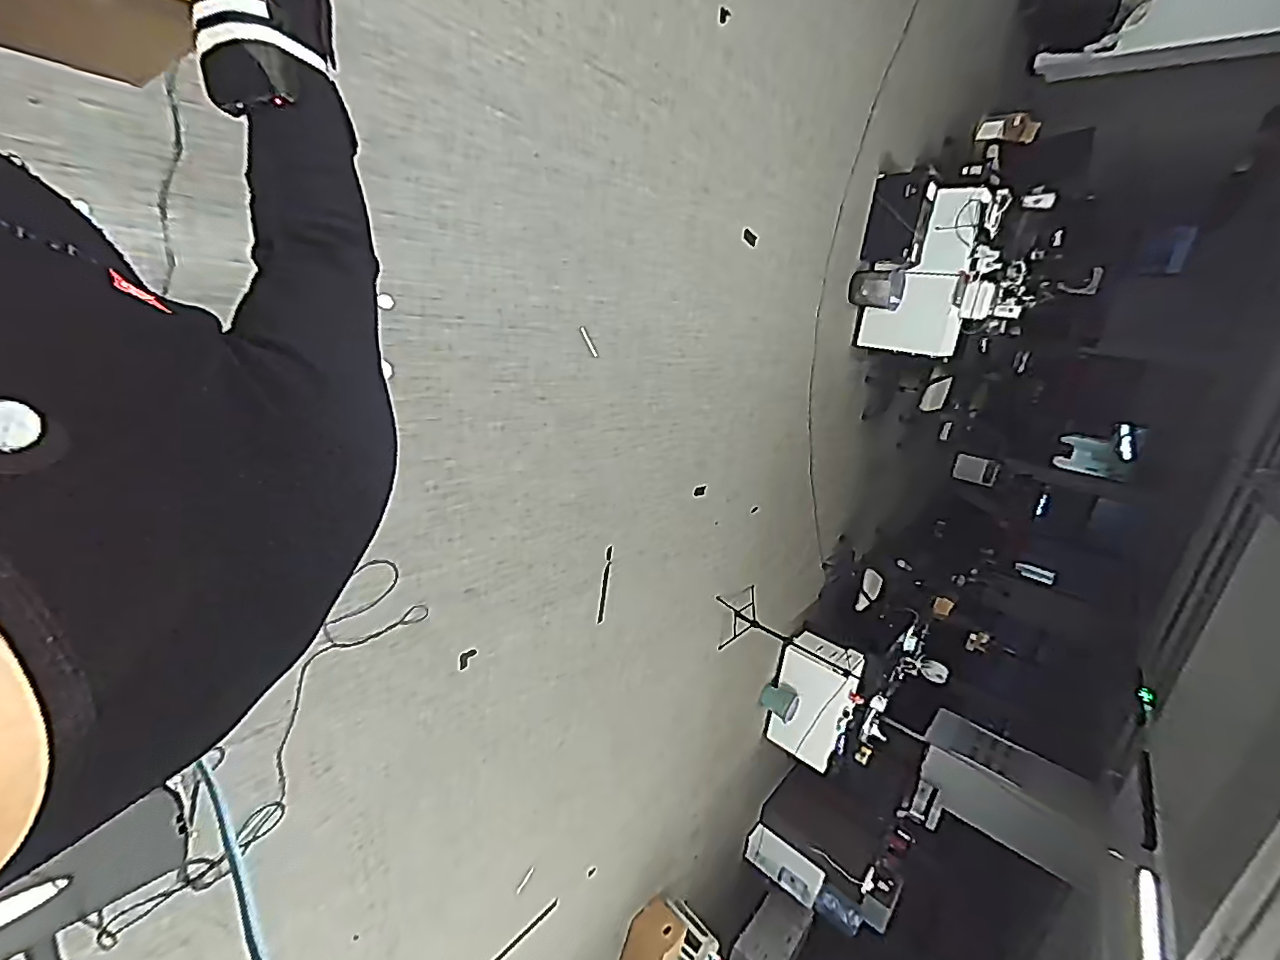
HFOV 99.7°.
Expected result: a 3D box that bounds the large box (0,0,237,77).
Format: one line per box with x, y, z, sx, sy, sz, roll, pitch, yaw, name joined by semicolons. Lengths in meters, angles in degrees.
-0.511;-0.483;0.279;0.408;0.320;0.320;-14;117;-49;large box
